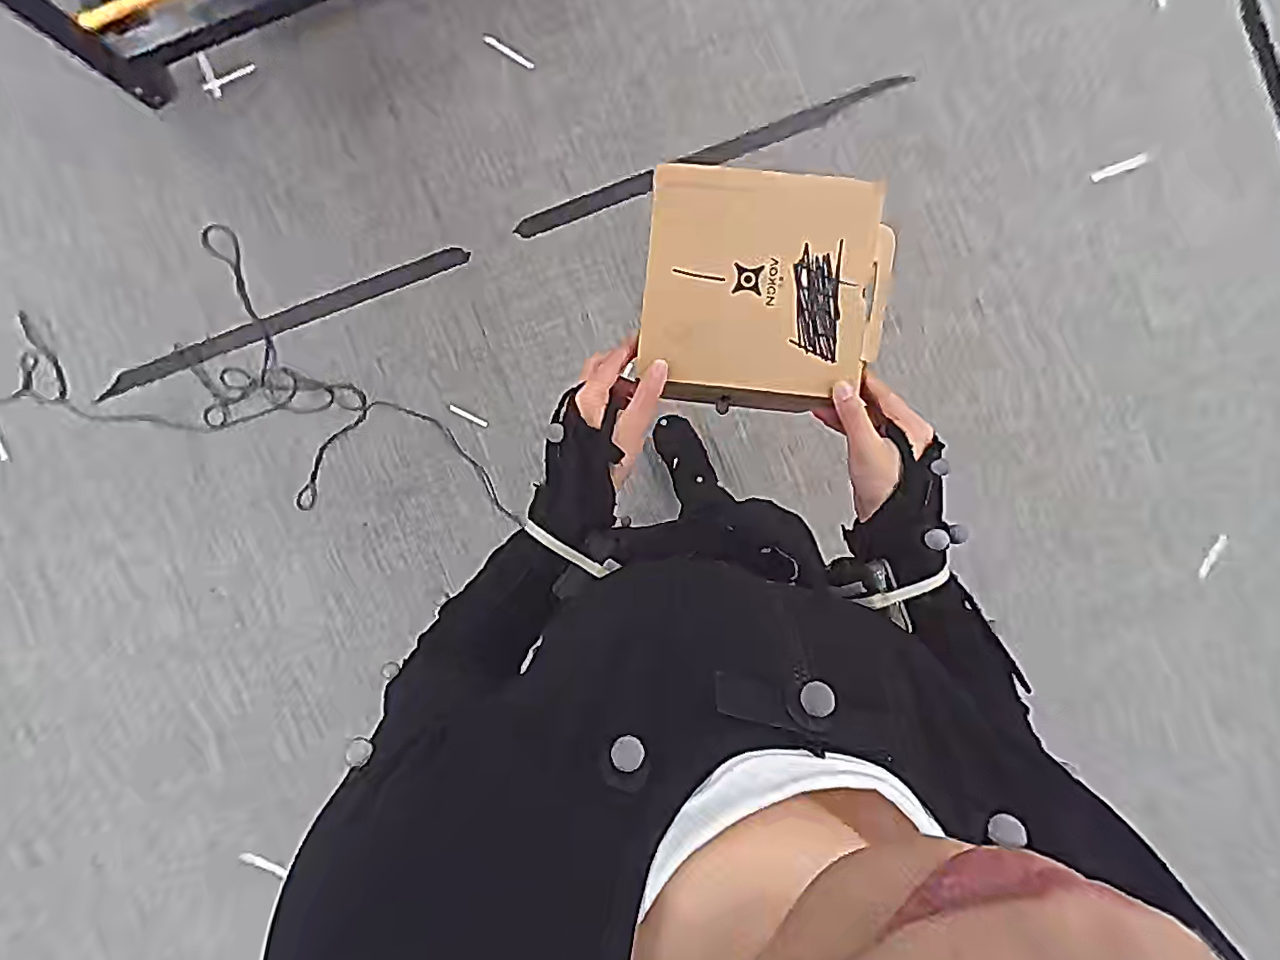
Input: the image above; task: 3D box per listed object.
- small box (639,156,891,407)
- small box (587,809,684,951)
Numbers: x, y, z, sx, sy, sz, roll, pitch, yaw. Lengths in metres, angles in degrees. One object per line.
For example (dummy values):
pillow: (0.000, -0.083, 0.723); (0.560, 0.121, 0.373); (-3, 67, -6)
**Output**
small box: (0.094, -0.158, 0.487); (0.179, 0.176, 0.168); (6, 94, 1)
small box: (-0.007, 0.918, 1.257); (0.168, 0.176, 0.179); (-24, 92, 1)
